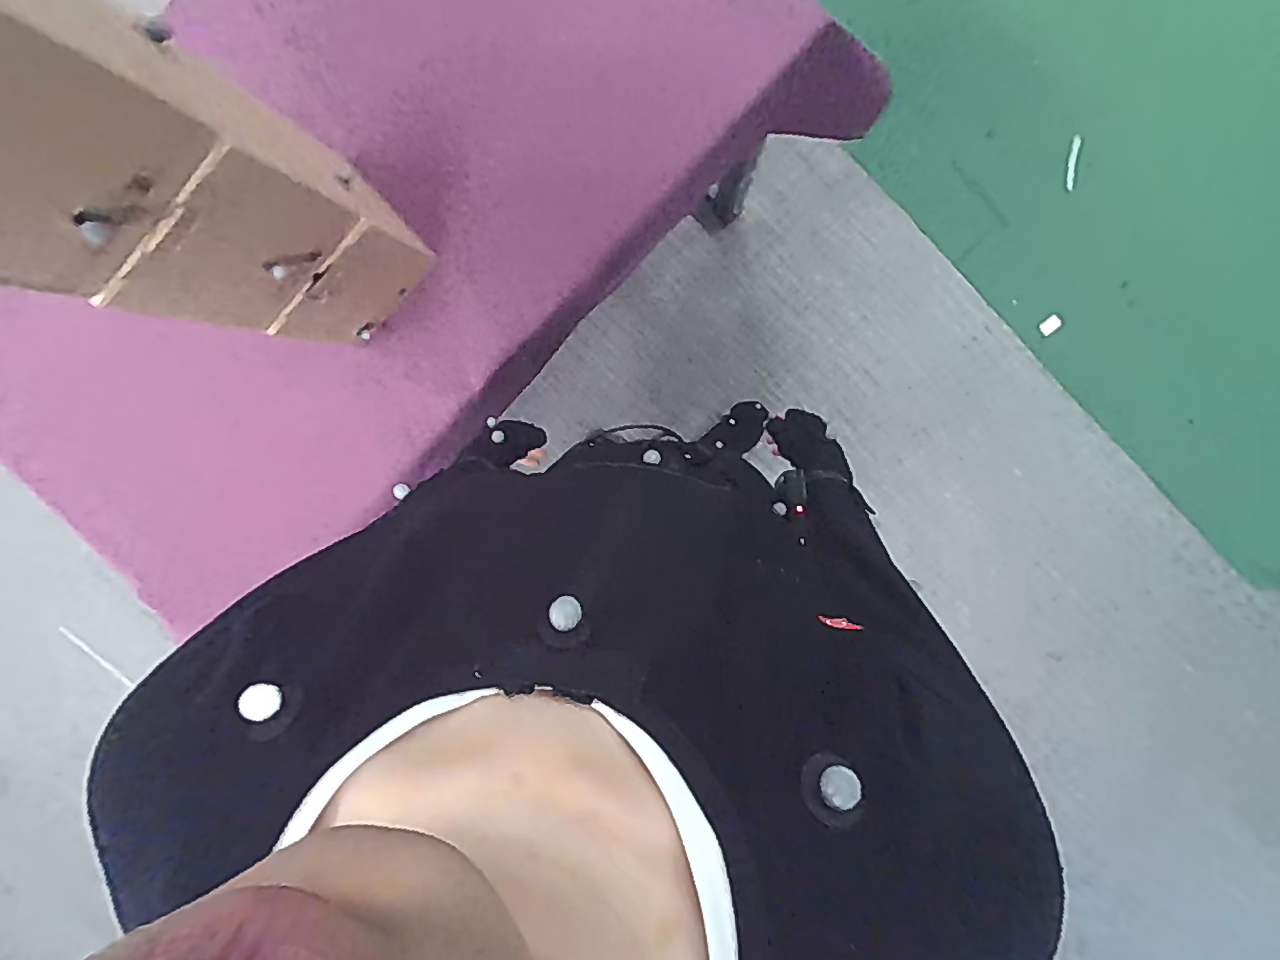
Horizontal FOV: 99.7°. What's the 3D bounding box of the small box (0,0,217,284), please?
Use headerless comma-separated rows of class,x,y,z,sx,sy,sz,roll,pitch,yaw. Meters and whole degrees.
small box,-0.418,-0.243,0.315,0.168,0.176,0.179,-43,94,9

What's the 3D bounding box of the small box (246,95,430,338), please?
small box,-0.388,-0.285,0.638,0.168,0.176,0.179,-43,94,9

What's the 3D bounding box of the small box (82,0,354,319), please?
small box,-0.405,-0.265,0.476,0.168,0.176,0.179,-43,94,9

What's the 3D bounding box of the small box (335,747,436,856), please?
small box,-0.739,0.940,1.591,0.168,0.176,0.179,43,100,-4
